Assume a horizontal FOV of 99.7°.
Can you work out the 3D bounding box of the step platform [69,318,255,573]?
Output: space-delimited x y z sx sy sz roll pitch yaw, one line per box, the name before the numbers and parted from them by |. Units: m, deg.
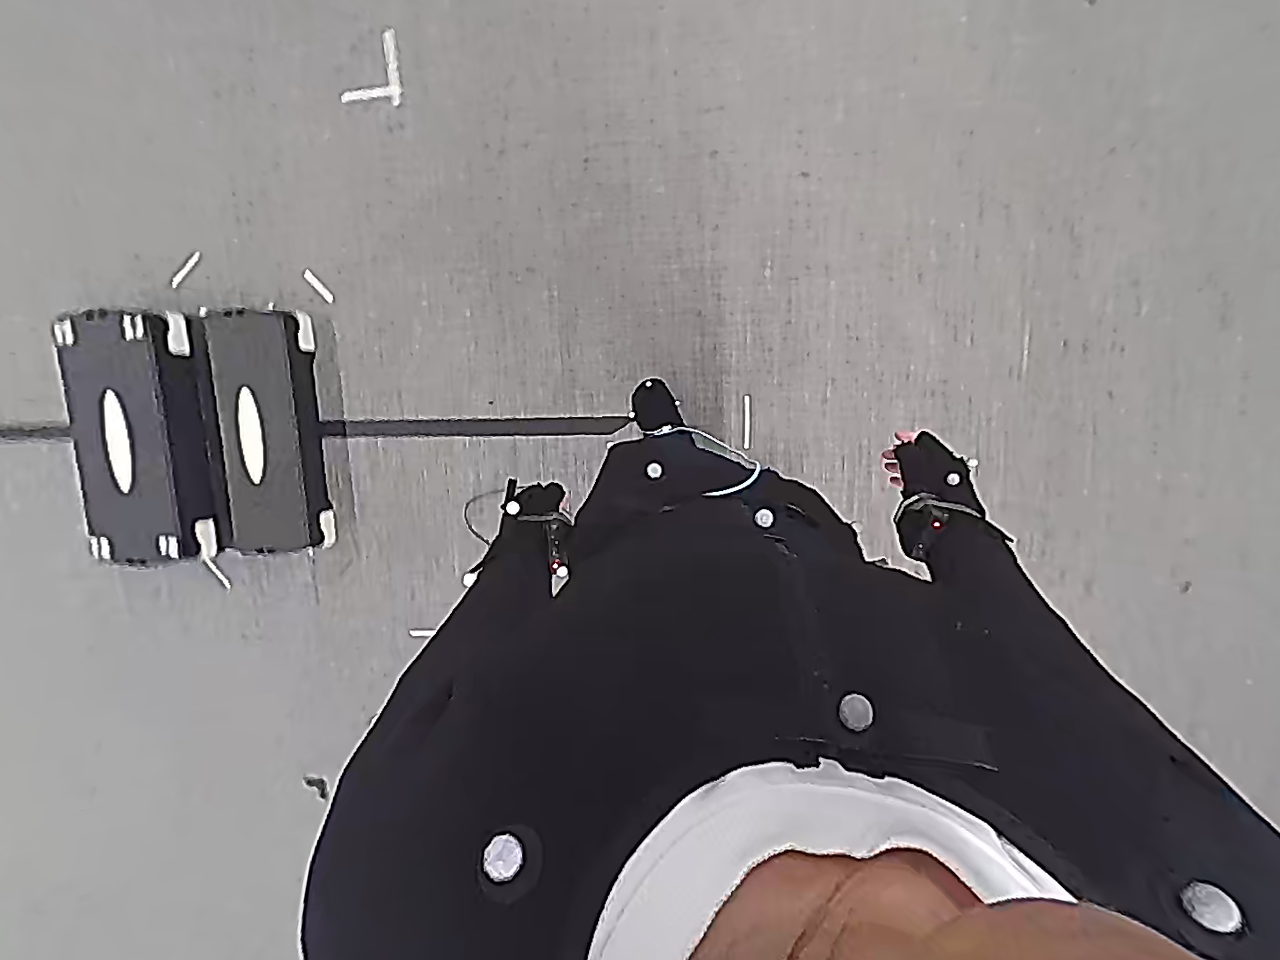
step platform | -1.301 -0.091 1.485 0.286 0.204 0.684 -2 97 5
